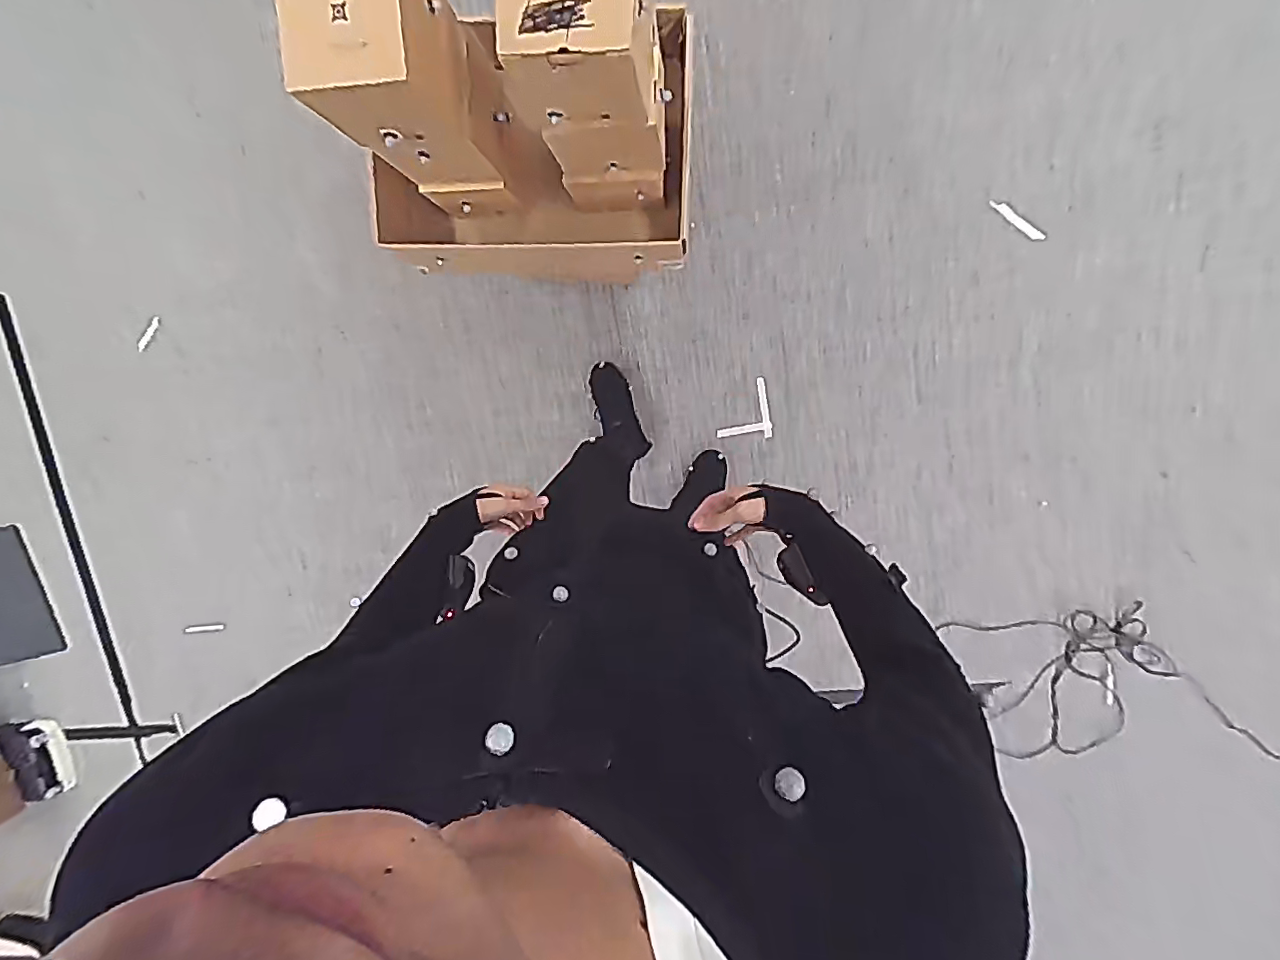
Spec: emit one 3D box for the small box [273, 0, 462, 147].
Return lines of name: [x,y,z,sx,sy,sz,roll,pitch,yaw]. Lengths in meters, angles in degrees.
small box: [-0.356,-0.585,0.730,0.168,0.176,0.179,0,98,7]

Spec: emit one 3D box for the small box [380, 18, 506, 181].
small box: [-0.333,-0.611,0.890,0.179,0.176,0.168,2,99,5]

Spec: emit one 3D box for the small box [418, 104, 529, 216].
small box: [-0.320,-0.629,1.054,0.168,0.176,0.179,0,99,5]

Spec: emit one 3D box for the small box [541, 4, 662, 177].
small box: [-0.055,-0.601,0.855,0.179,0.176,0.168,-2,99,6]

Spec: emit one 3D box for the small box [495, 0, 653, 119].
small box: [-0.075,-0.592,0.691,0.168,0.176,0.179,4,99,7]
